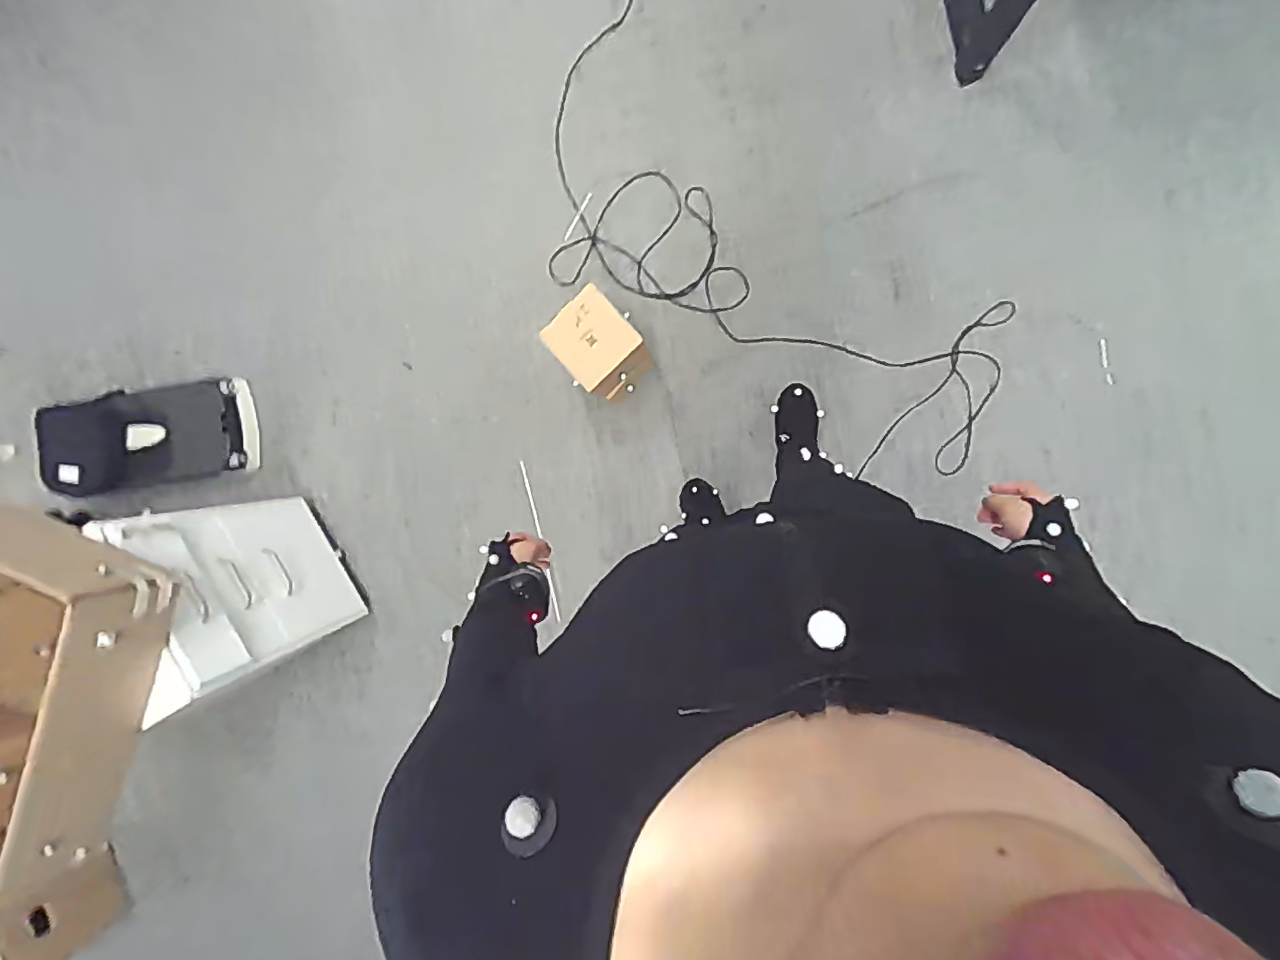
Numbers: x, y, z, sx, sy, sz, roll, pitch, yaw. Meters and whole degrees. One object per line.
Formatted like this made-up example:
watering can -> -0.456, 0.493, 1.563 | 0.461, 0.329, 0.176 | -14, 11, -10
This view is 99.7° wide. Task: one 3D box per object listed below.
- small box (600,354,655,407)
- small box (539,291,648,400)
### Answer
small box -> -0.077, -0.306, 1.416 | 0.179, 0.176, 0.168 | 42, 98, 3
small box -> -0.098, -0.301, 1.253 | 0.168, 0.176, 0.179 | -43, 87, 7
